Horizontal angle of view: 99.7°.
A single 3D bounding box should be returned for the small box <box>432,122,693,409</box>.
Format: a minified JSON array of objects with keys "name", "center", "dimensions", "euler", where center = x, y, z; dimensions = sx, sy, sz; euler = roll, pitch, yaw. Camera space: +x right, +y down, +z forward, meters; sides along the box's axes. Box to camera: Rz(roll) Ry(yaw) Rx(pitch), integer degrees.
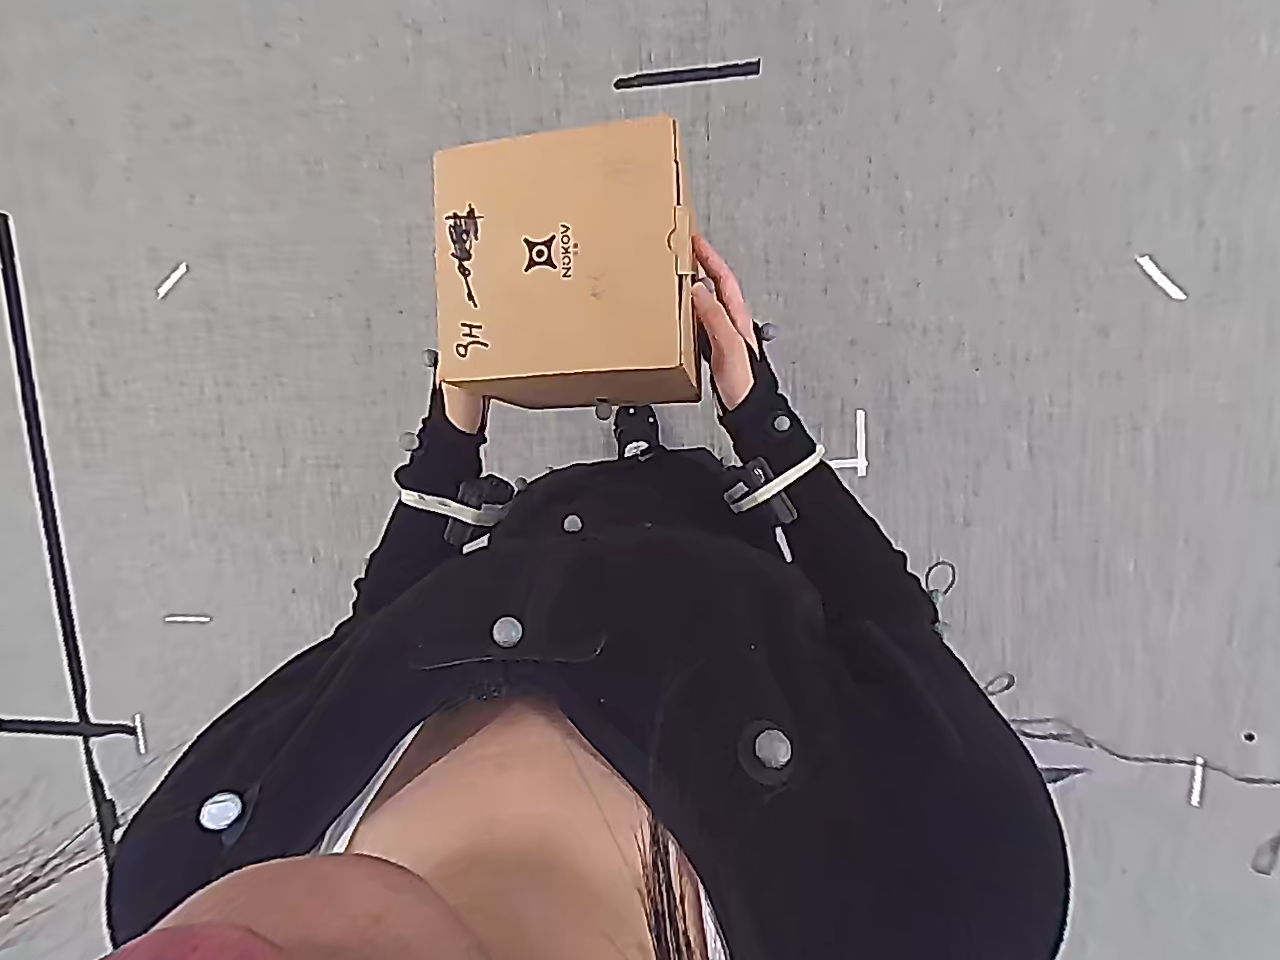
[{"name":"small box","center":[-0.047,-0.152,0.446],"dimensions":[0.179,0.176,0.168],"euler":[-1,90,10]}]
